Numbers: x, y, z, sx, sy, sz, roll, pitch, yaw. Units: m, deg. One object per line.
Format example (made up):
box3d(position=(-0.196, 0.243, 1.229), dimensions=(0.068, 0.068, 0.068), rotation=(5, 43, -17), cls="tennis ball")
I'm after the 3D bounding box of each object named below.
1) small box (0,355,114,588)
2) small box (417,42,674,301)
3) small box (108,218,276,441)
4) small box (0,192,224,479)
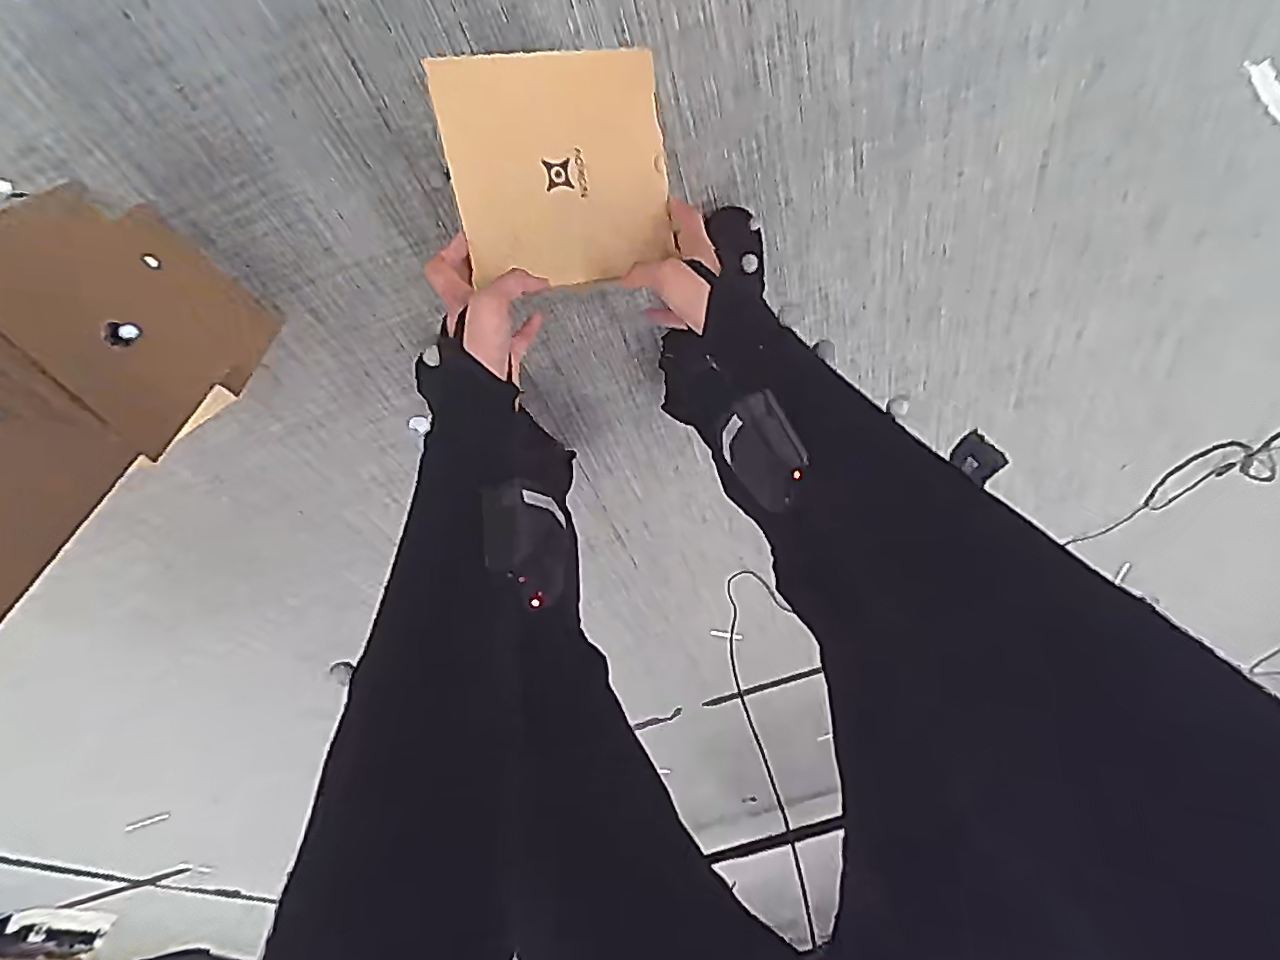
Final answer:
box3d(position=(-0.480, 0.008, 0.310), dimensions=(0.179, 0.176, 0.168), rotation=(-22, 133, 8), cls="small box")
box3d(position=(-0.086, -0.261, 0.492), dimensions=(0.179, 0.176, 0.168), rotation=(-14, 109, -14), cls="small box")
box3d(position=(-0.553, -0.158, 0.591), dimensions=(0.168, 0.176, 0.179), rotation=(-28, 133, 13), cls="small box")
box3d(position=(-0.493, -0.106, 0.428), dimensions=(0.168, 0.176, 0.179), rotation=(-16, 134, 3), cls="small box")
